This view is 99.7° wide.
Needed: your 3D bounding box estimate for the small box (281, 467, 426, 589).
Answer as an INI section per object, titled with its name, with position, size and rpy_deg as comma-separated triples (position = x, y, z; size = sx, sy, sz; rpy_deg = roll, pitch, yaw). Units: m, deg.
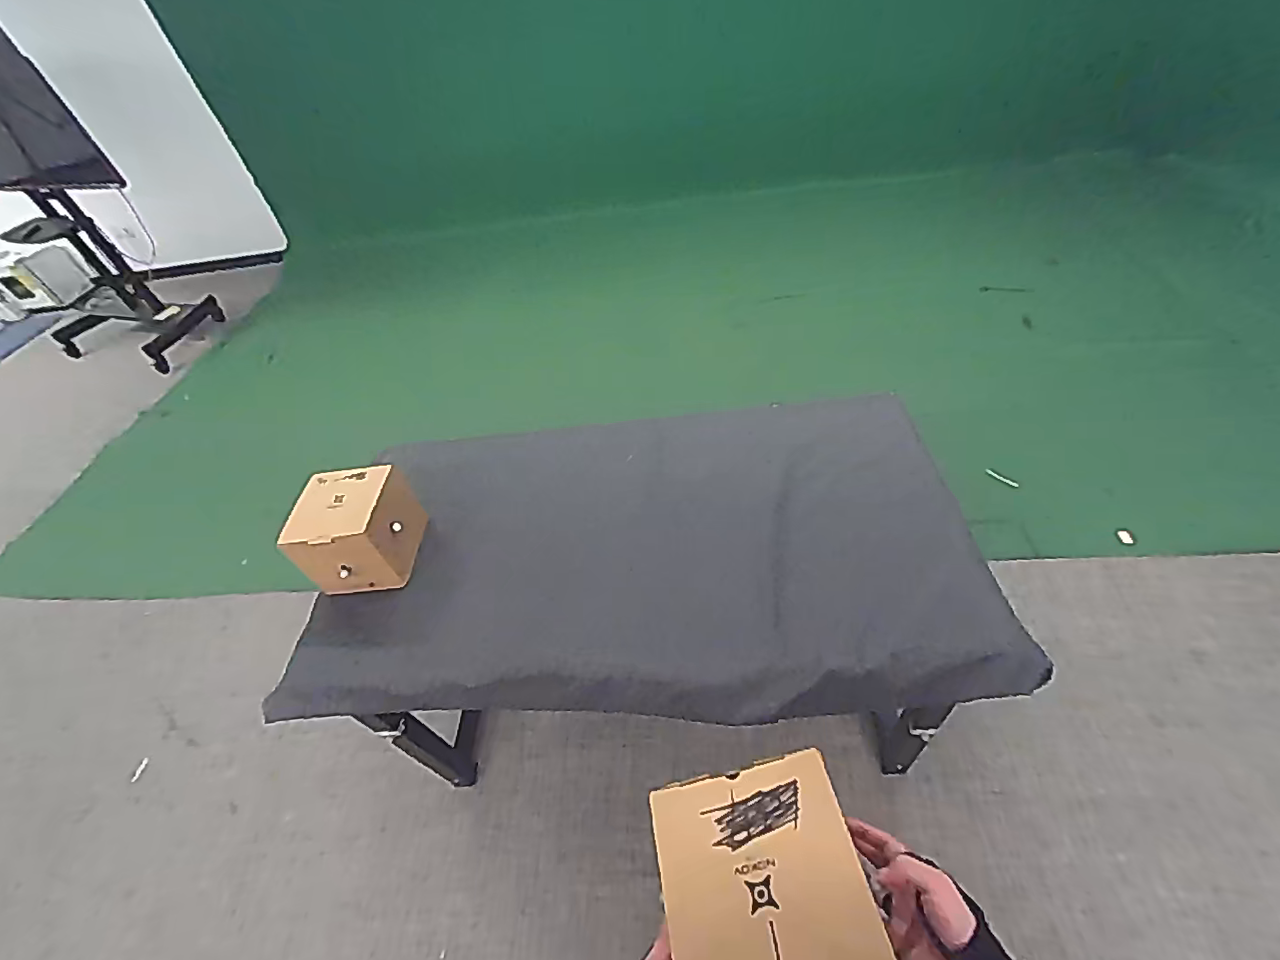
[small box]
position = -0.542, 0.099, 1.054
size = 0.168, 0.176, 0.179
rpy_deg = -6, 47, 4
